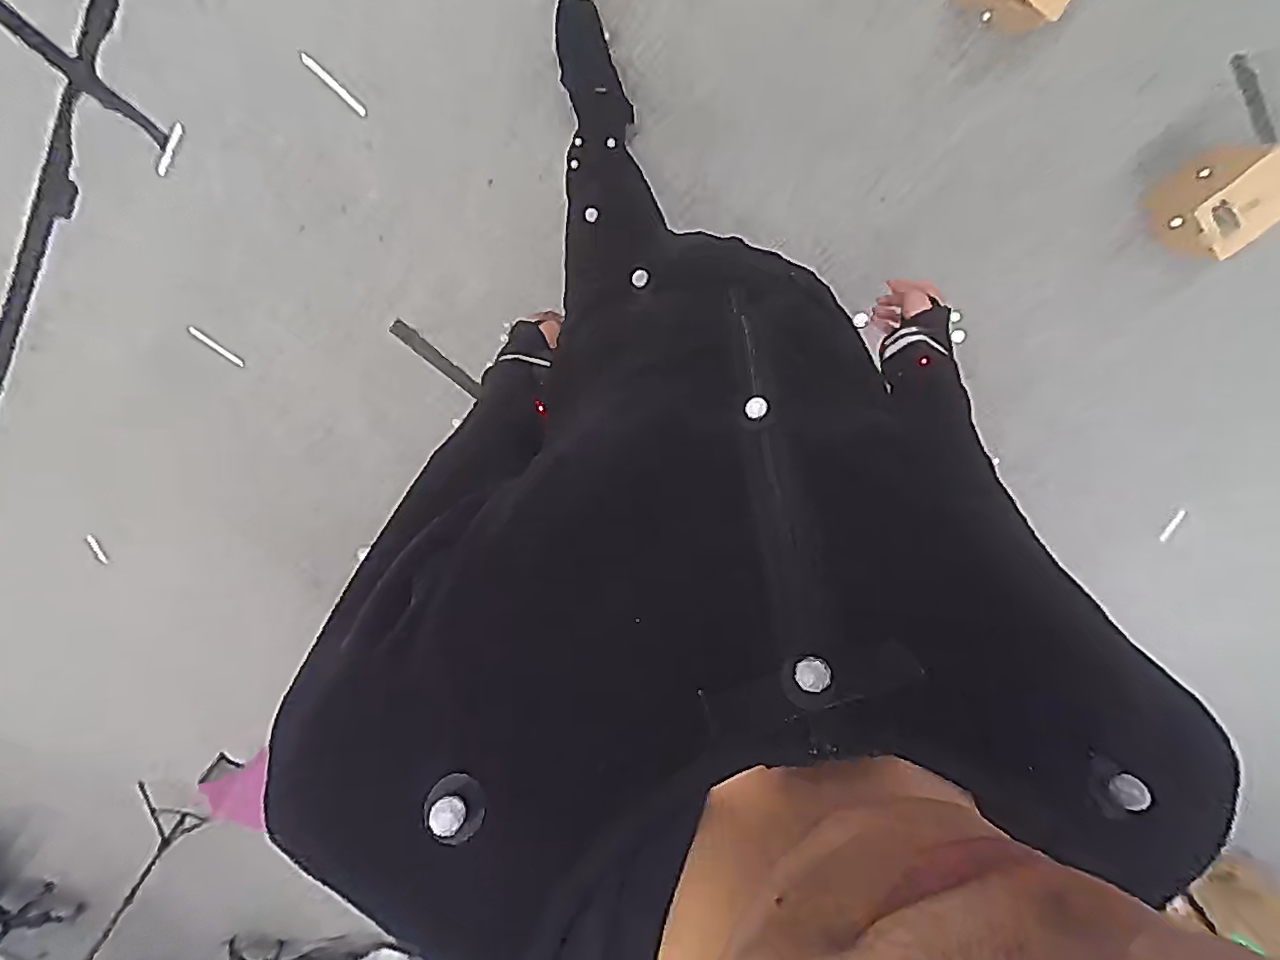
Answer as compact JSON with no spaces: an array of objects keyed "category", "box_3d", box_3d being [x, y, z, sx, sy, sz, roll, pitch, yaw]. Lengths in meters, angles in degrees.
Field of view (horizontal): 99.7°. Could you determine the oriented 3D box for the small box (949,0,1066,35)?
[{"category":"small box","box_3d":[0.743,-1.005,1.039,0.168,0.176,0.179,21,121,-13]}]
